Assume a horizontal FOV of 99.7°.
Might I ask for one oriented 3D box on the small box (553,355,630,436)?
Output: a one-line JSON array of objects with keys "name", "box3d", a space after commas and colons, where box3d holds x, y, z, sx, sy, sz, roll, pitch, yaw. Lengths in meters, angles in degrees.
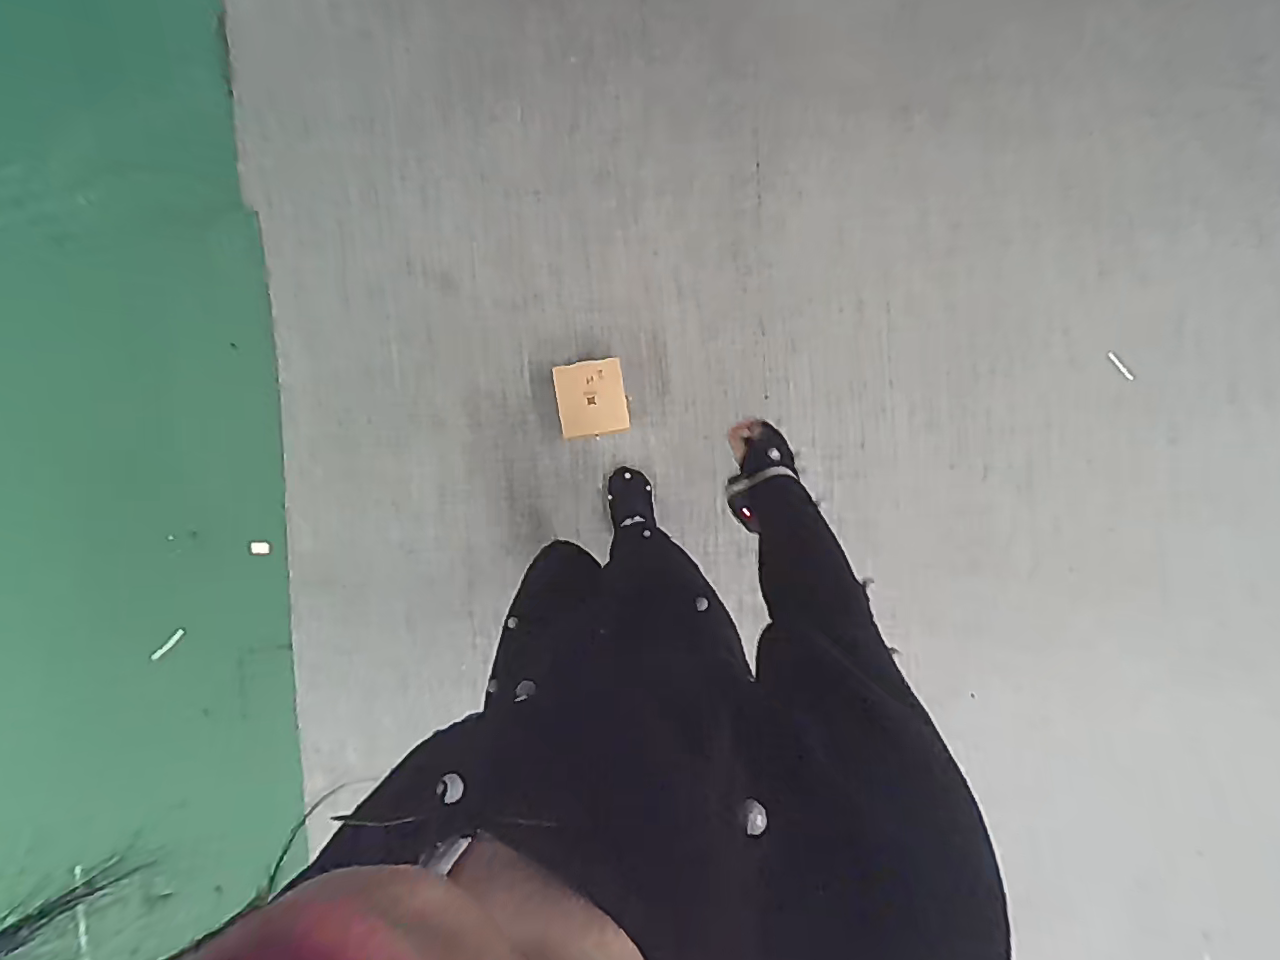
[{"name": "small box", "box3d": [-0.117, -0.210, 1.380, 0.168, 0.176, 0.179, -9, 94, 0]}]
